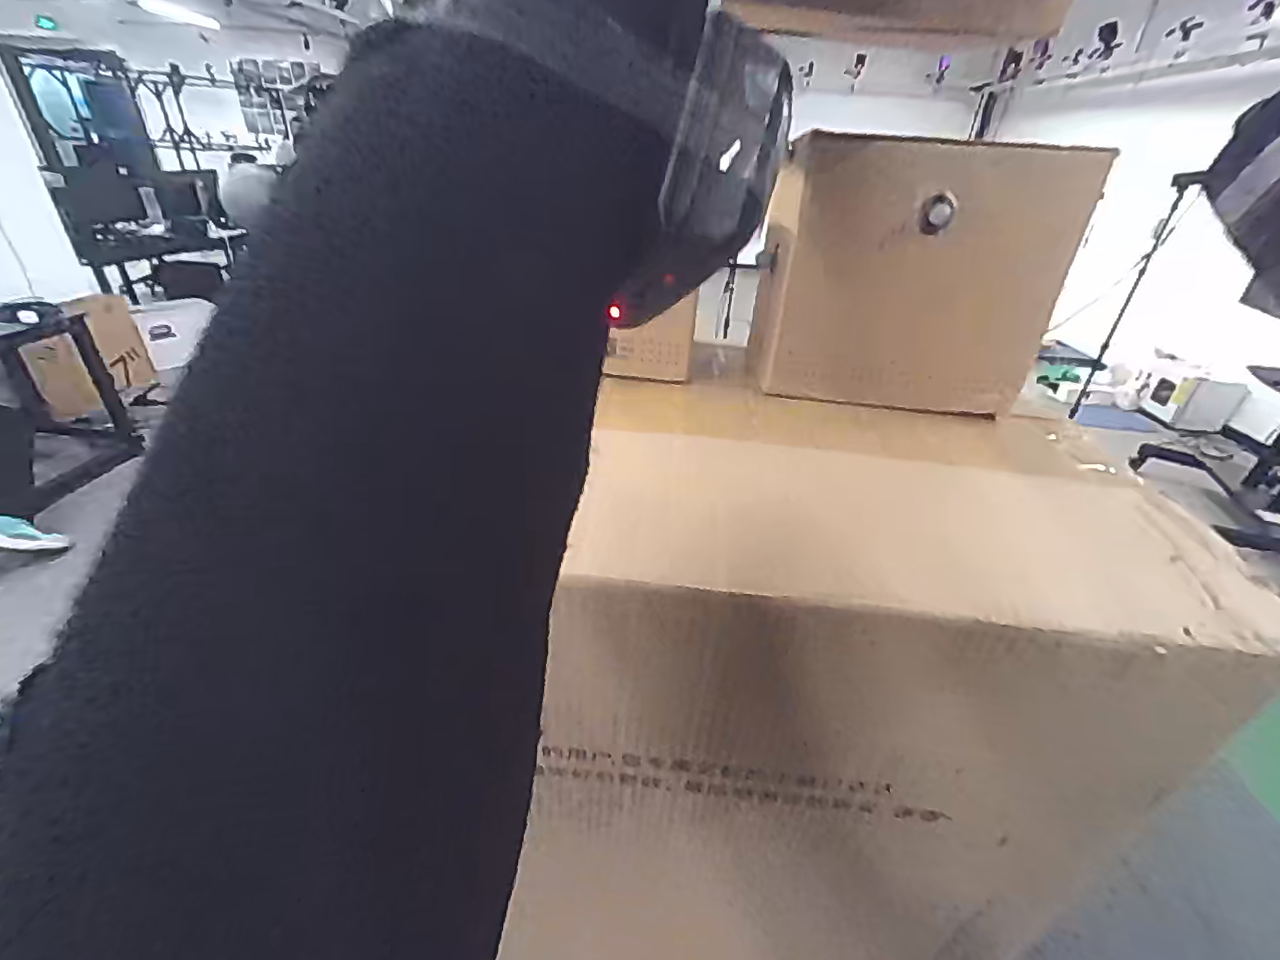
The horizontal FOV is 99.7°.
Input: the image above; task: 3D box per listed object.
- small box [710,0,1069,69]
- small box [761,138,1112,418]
[{"bbox_3d":[0.139,-0.328,0.278,0.179,0.176,0.168,8,35,1],"label":"small box"},{"bbox_3d":[0.198,-0.157,0.429,0.179,0.176,0.168,7,28,3],"label":"small box"}]
